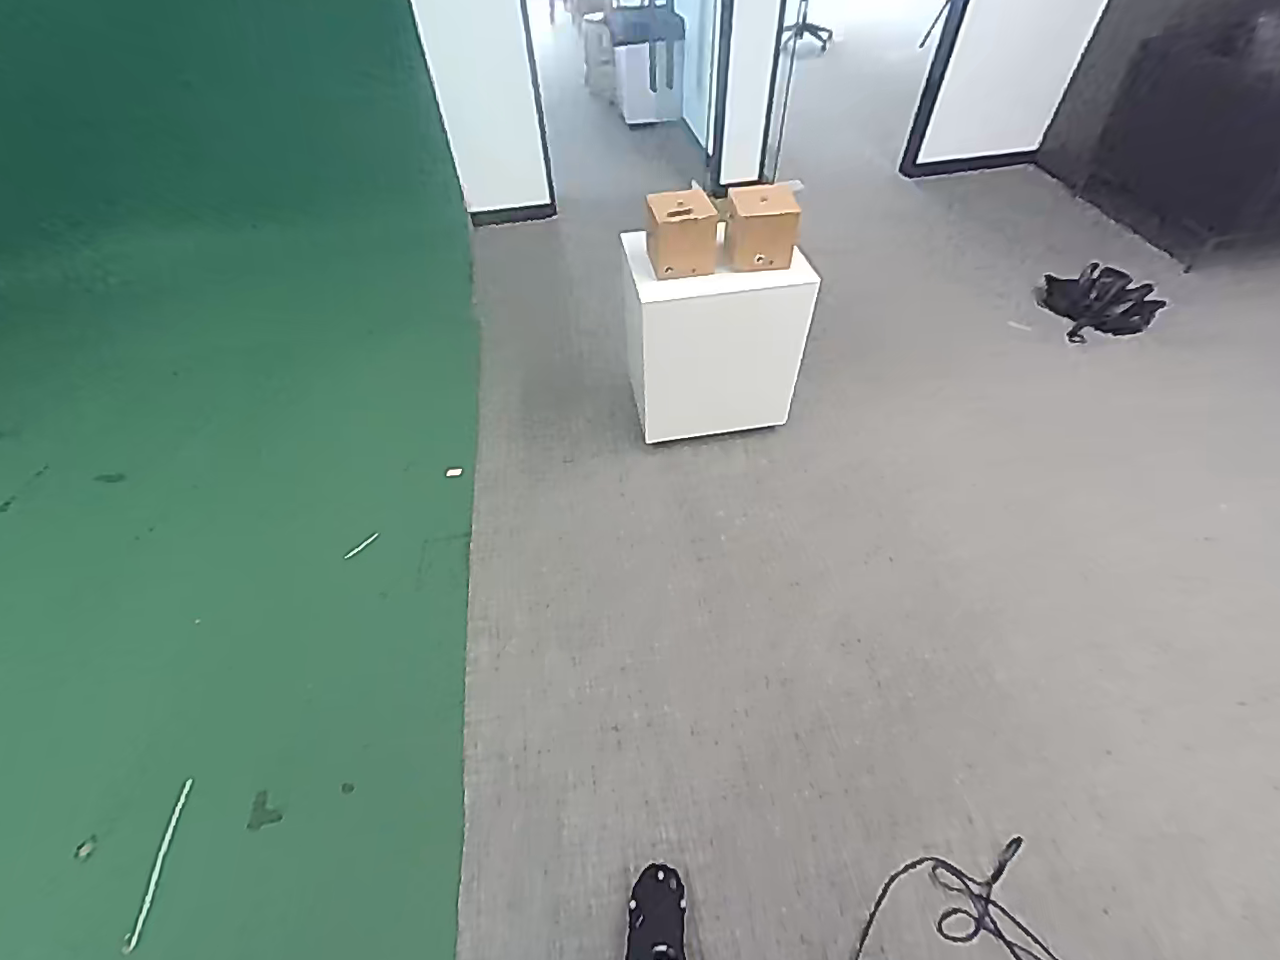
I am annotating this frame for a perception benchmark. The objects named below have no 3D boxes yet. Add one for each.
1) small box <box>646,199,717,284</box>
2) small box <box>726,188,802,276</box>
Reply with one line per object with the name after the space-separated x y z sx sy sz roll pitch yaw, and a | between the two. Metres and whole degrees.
0.116 -0.673 1.539 0.168 0.176 0.179 -9 49 -6 | small box
0.343 -0.704 1.536 0.168 0.176 0.179 -5 51 -1 | small box
